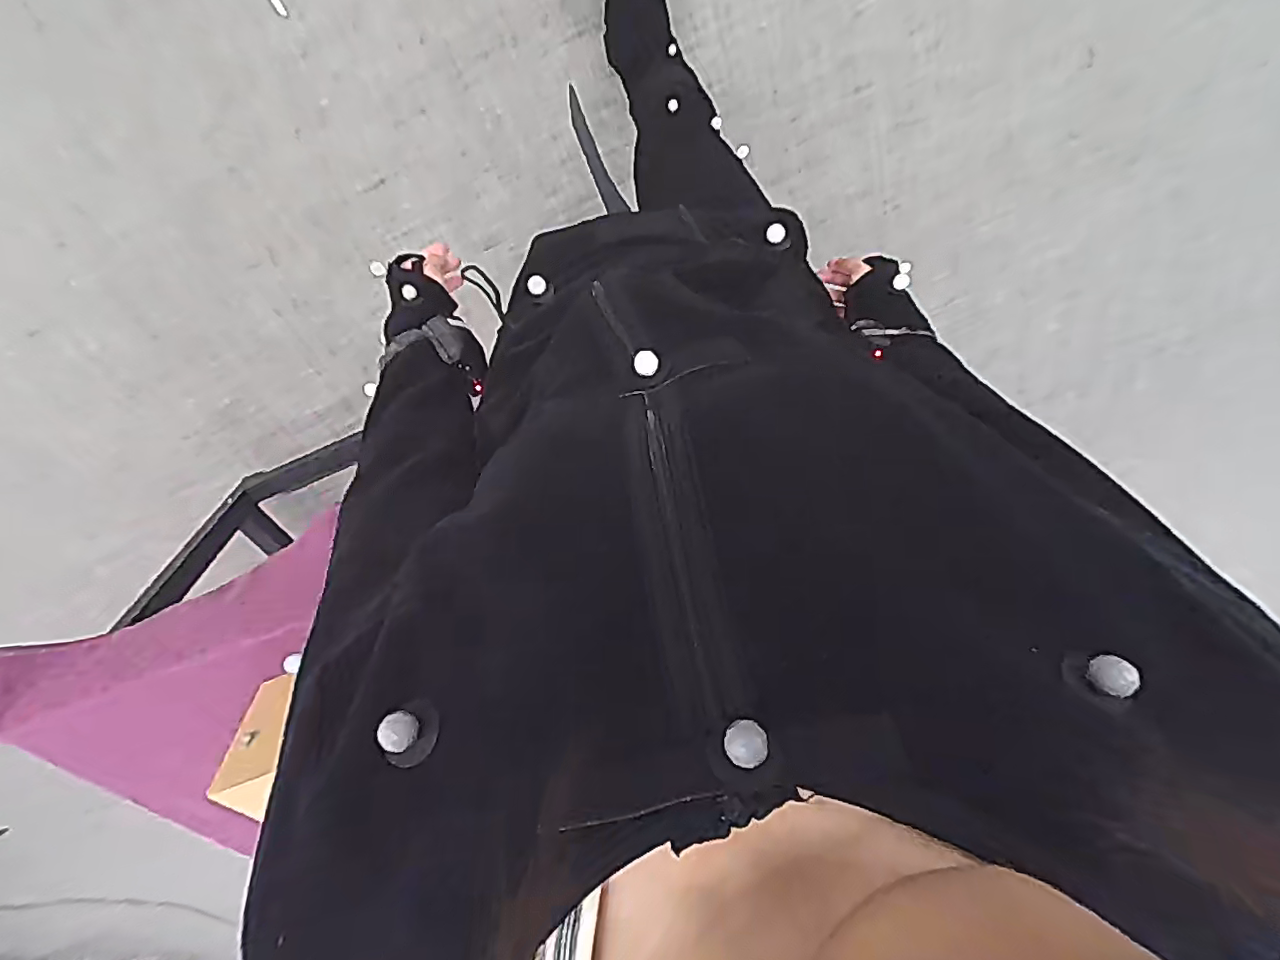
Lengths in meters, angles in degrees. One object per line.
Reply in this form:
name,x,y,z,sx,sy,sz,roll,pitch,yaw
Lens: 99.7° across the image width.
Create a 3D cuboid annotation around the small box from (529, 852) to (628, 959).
small box,-0.143,1.003,1.261,0.179,0.176,0.168,-21,123,7
